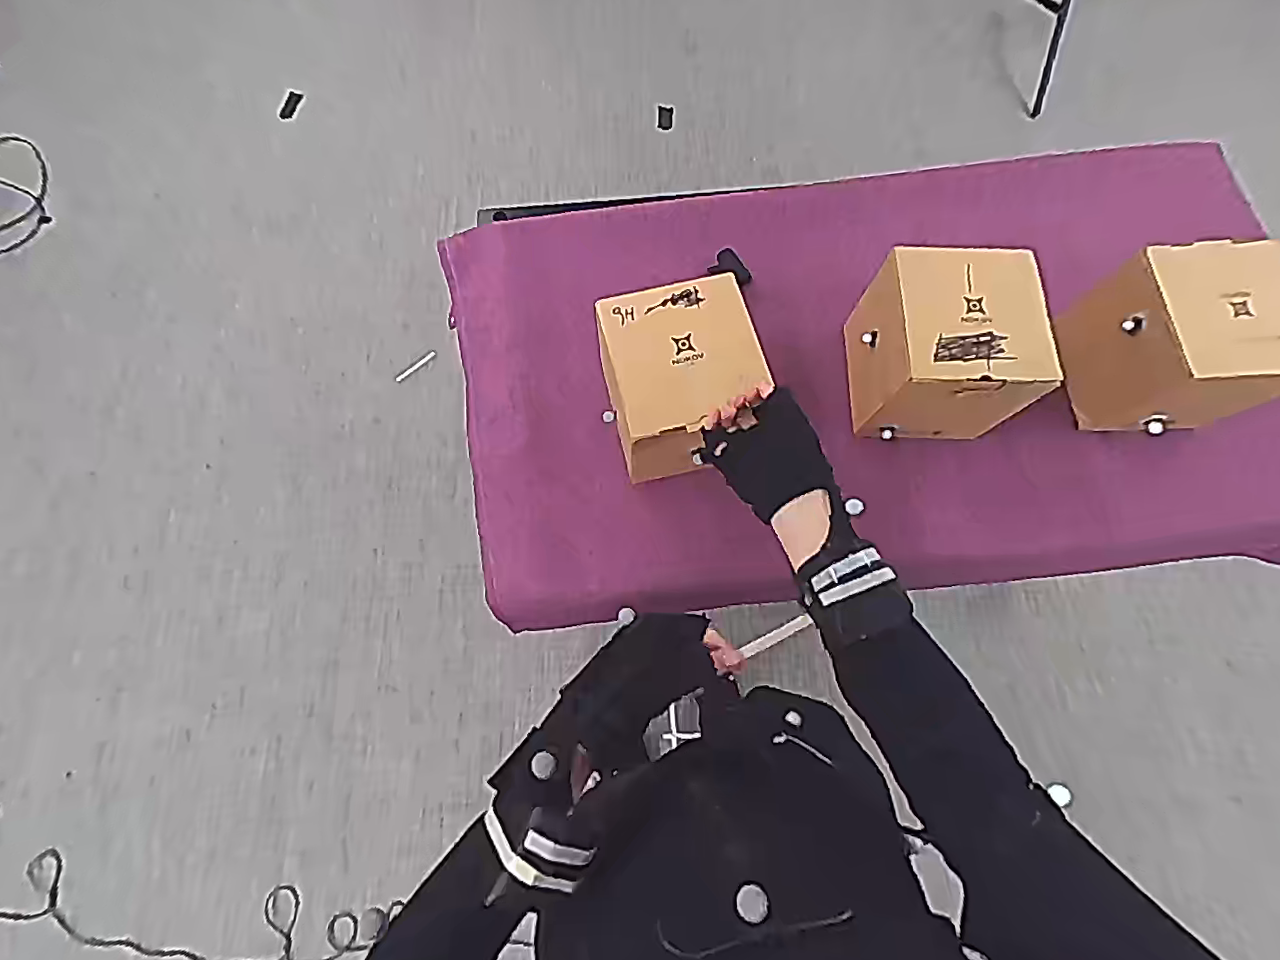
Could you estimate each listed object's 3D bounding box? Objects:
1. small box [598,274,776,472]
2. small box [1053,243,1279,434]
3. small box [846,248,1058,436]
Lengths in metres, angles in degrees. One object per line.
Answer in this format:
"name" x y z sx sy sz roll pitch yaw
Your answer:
"small box" 0.050 -0.119 0.673 0.168 0.176 0.179 -13 74 -5
"small box" 0.679 -0.172 0.691 0.168 0.176 0.179 -3 74 1
"small box" 0.376 -0.165 0.688 0.168 0.176 0.179 2 72 0
